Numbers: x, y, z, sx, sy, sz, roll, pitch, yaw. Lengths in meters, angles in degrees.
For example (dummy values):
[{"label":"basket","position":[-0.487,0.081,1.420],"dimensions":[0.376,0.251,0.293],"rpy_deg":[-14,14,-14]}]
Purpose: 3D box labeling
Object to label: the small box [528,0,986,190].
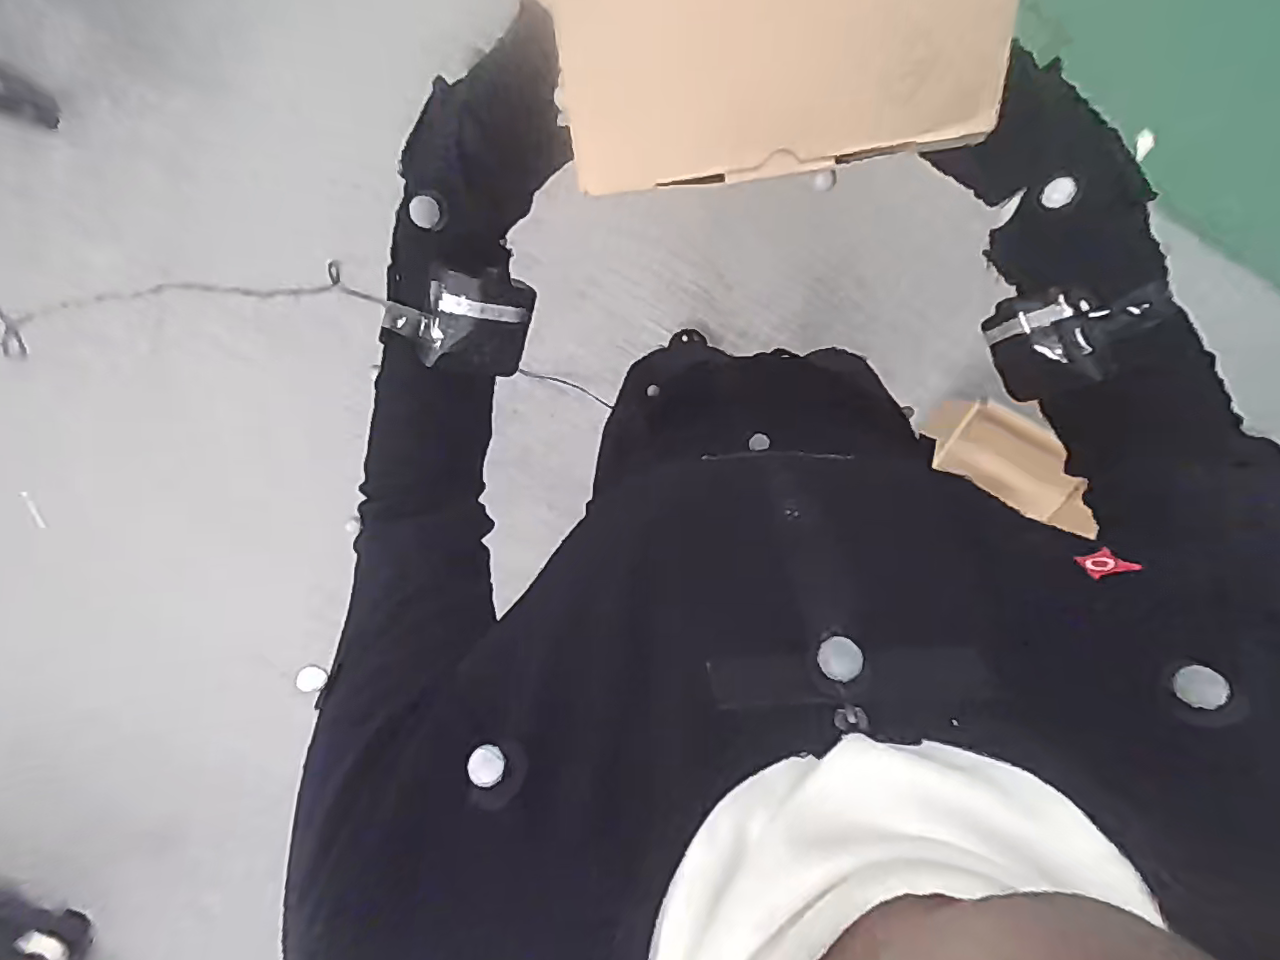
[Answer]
[{"label":"small box","position":[0.038,-0.245,0.246],"dimensions":[0.168,0.176,0.179],"rpy_deg":[-7,119,5]}]
